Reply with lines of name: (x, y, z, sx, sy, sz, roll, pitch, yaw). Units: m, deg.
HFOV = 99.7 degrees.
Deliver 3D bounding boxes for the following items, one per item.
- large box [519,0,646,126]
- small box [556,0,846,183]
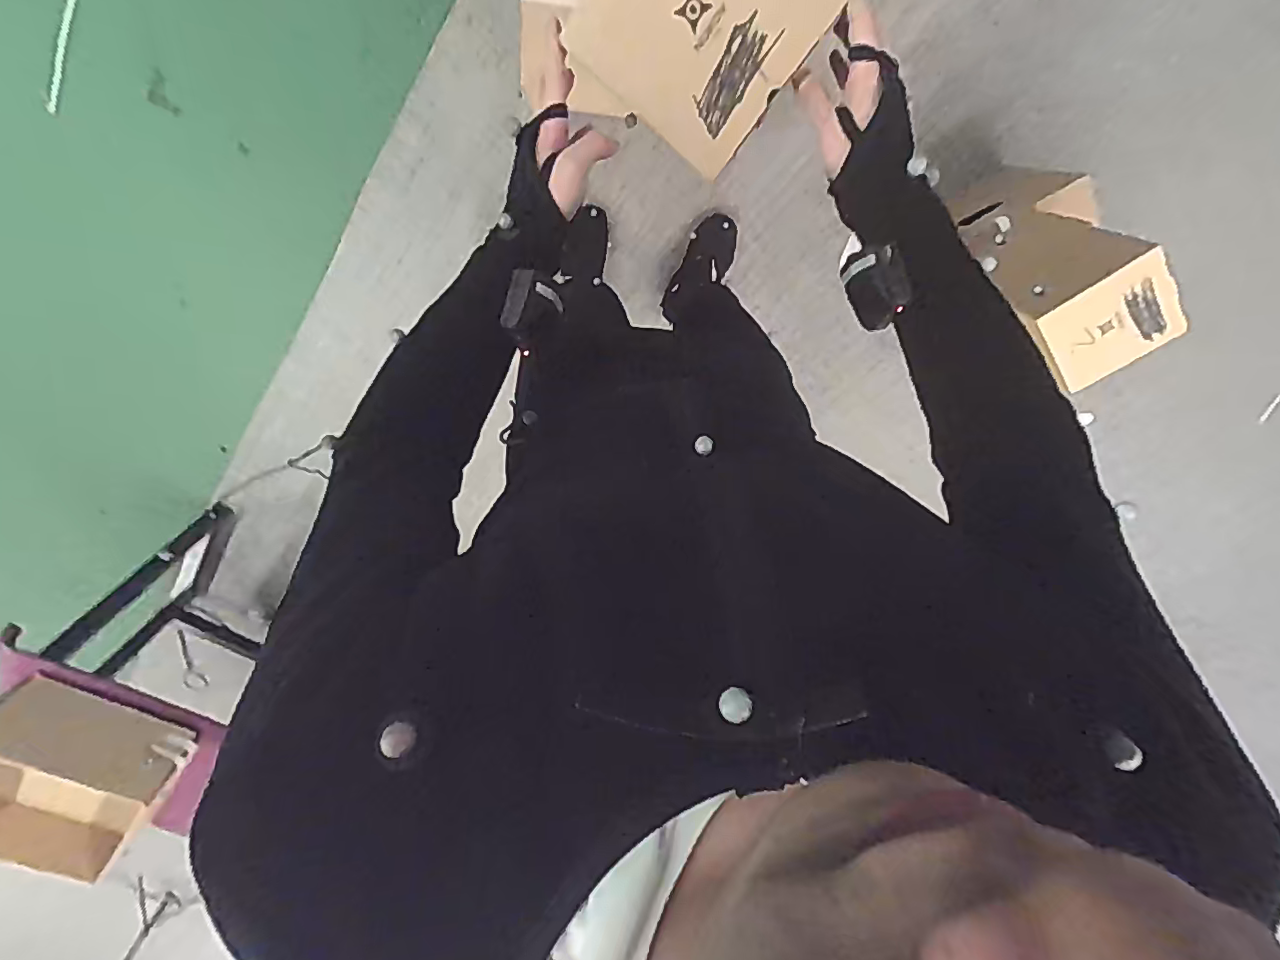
large box: (-0.001, -0.878, 1.052, 0.408, 0.320, 0.320, 7, 121, -1)
small box: (0.053, -0.414, 0.500, 0.179, 0.176, 0.168, 36, 119, -17)
